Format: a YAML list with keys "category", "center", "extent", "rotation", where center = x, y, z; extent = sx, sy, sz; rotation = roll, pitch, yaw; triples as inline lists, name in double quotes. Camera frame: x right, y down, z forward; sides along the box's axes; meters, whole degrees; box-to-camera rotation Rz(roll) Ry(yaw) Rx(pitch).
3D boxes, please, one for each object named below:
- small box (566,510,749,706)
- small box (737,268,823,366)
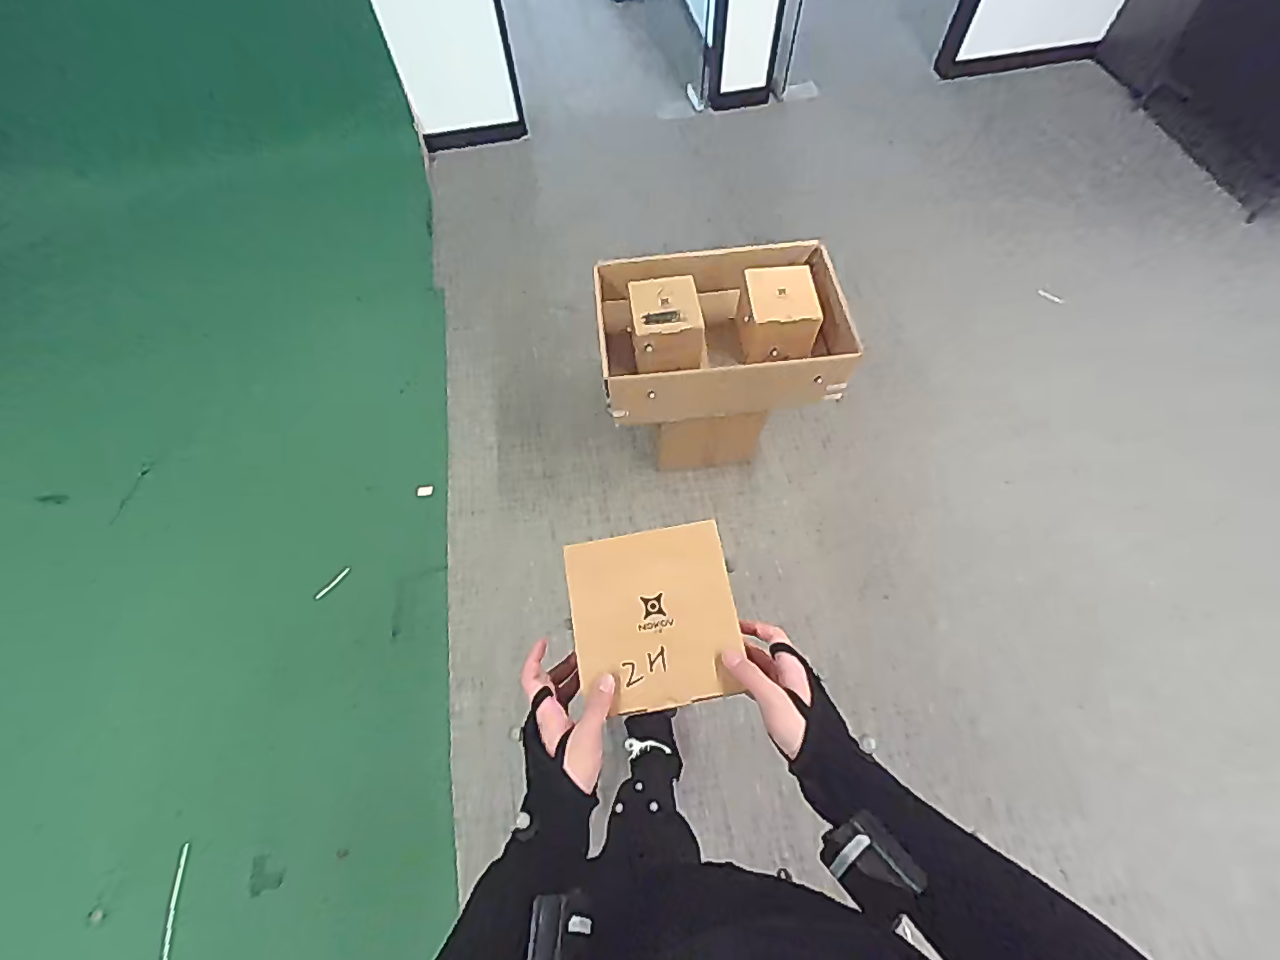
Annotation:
- category: "small box"
  center: [0.016, 0.151, 0.617]
  extent: [0.168, 0.176, 0.179]
  rotation: [-10, 70, 0]
- category: "small box"
  center: [0.350, -0.416, 1.389]
  extent: [0.168, 0.176, 0.179]
  rotation: [-4, 63, -1]
